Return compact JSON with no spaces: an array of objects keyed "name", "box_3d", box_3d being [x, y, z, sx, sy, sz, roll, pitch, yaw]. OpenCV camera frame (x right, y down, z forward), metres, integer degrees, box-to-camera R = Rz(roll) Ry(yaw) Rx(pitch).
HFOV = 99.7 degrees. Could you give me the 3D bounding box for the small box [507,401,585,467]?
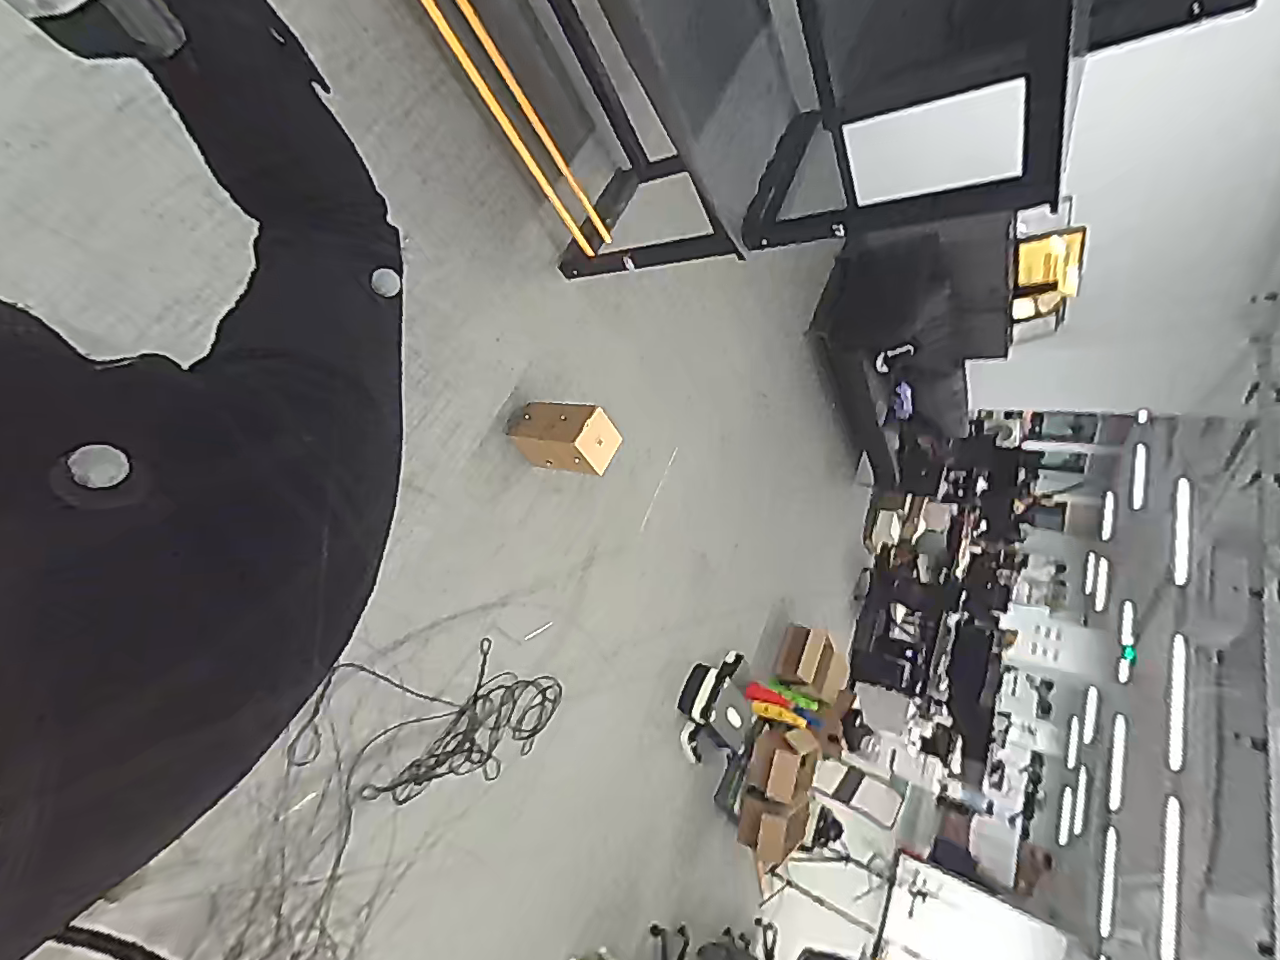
[{"name":"small box","box_3d":[-0.335,-0.169,1.922,0.168,0.176,0.179,-61,138,-26]}]
